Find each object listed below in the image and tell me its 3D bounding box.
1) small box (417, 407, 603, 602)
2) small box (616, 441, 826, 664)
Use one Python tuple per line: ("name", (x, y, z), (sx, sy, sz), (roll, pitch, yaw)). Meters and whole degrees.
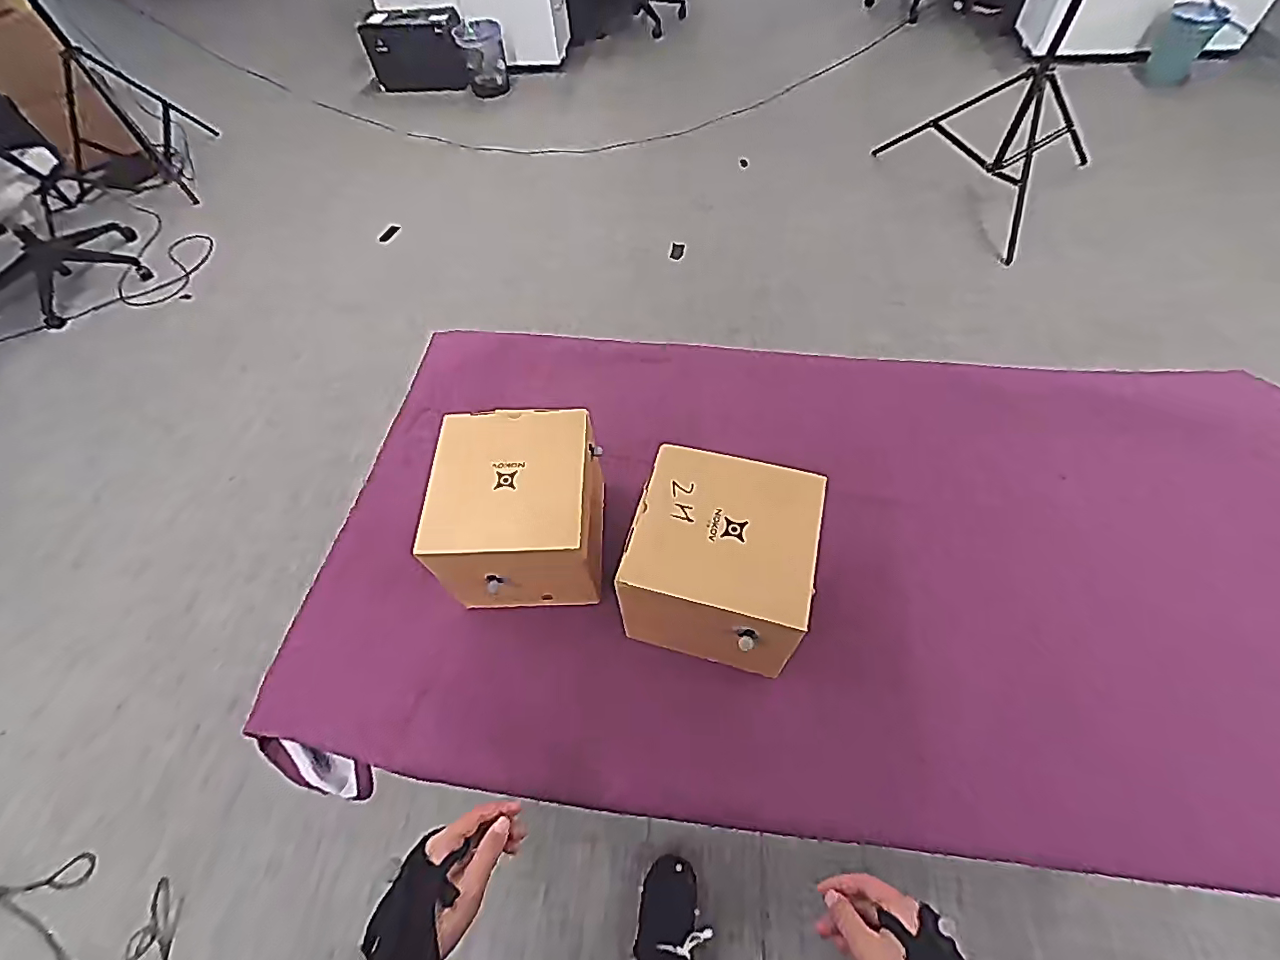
("small box", (-0.135, 0.037, 0.637), (0.168, 0.176, 0.179), (-3, 57, 2))
("small box", (0.087, 0.085, 0.588), (0.179, 0.176, 0.168), (12, 57, 12))
